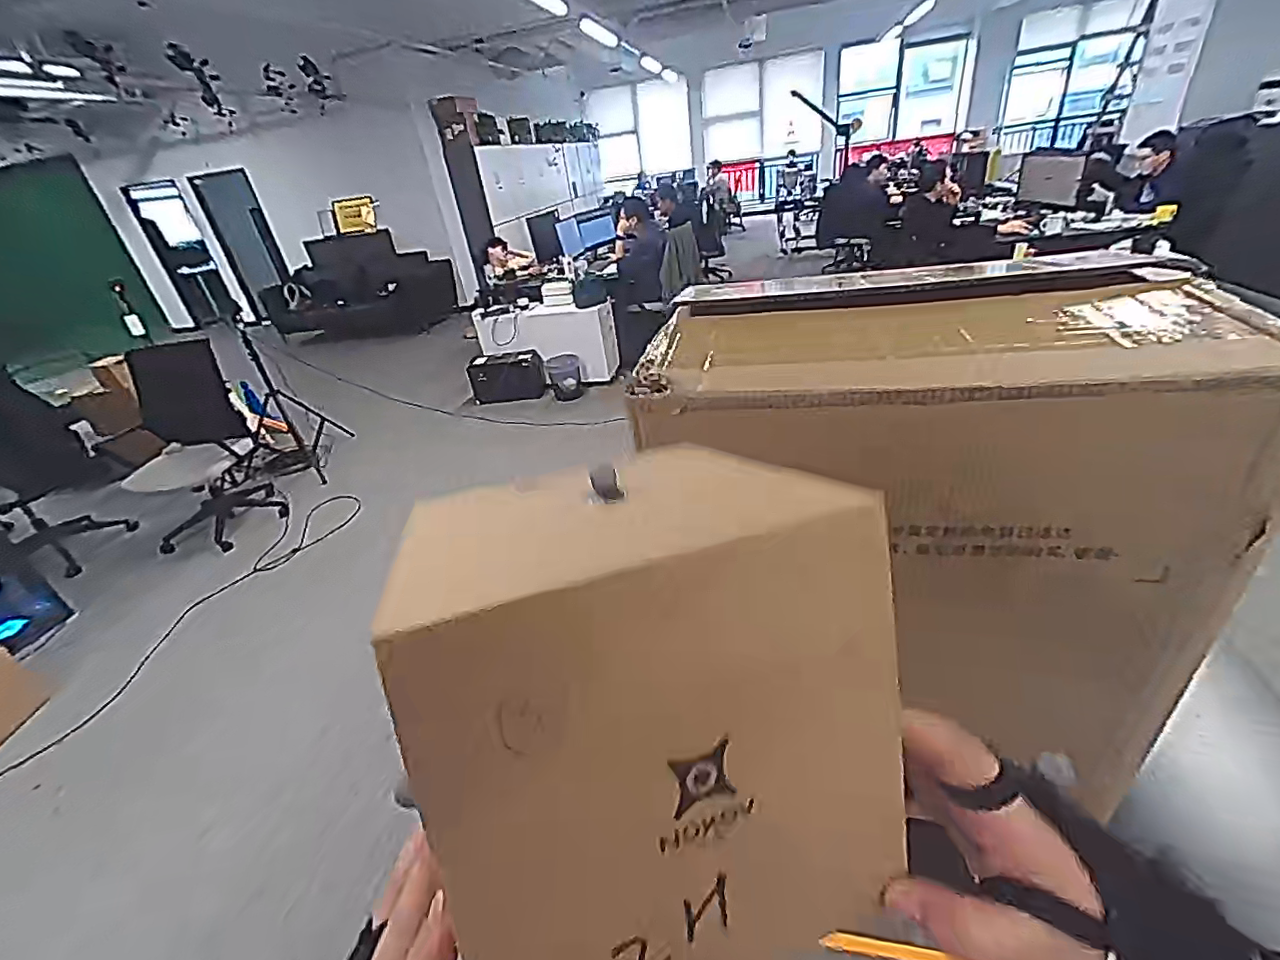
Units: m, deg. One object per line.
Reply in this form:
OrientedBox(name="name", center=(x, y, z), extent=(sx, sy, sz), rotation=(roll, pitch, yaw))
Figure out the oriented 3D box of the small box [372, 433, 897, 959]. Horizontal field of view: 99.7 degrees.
OrientedBox(name="small box", center=(-0.010, 0.077, 0.256), extent=(0.168, 0.179, 0.176), rotation=(-14, 14, -16))
